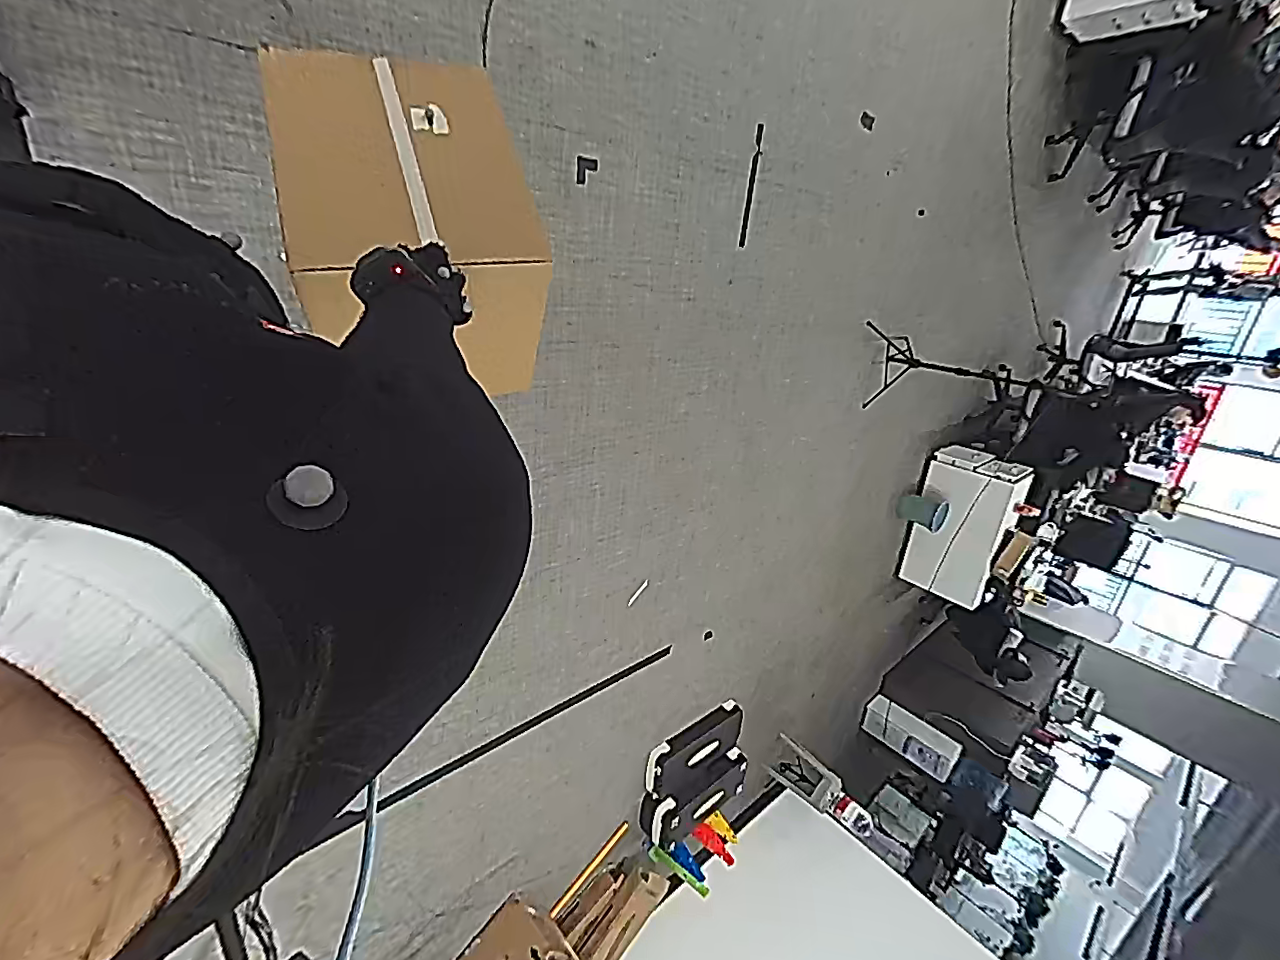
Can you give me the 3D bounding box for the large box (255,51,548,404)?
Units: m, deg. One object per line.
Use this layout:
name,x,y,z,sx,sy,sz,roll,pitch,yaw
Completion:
large box,-0.370,-0.386,0.873,0.320,0.408,0.320,-12,159,-24
